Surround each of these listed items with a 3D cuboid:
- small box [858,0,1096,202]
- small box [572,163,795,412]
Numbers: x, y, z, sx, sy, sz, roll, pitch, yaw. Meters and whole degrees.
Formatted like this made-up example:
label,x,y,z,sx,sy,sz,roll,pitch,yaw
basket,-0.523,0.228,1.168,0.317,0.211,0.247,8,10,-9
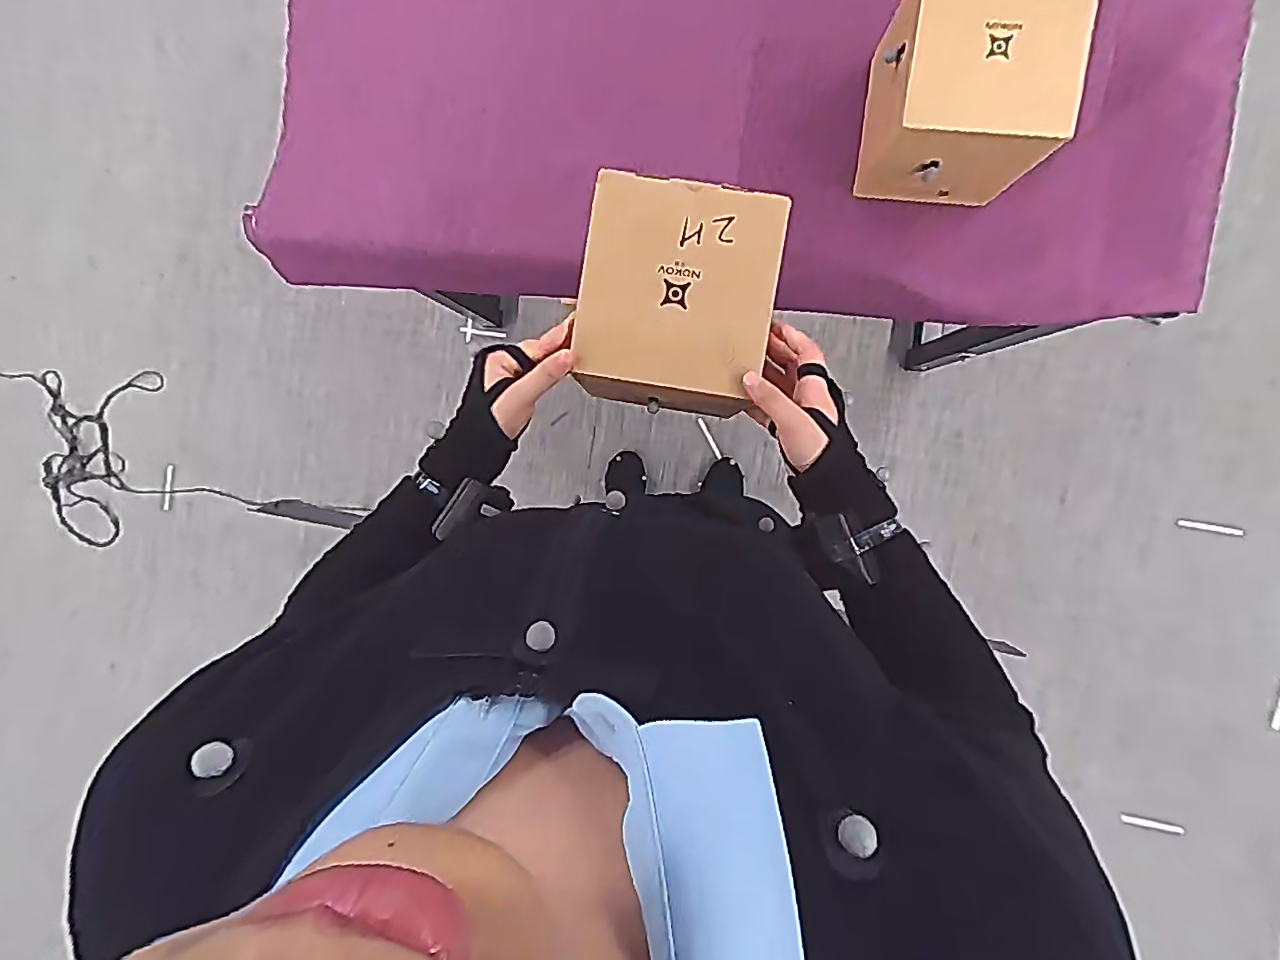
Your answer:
label,x,y,z,sx,sy,sz,roll,pitch,yaw
small box,0.361,-0.440,0.612,0.168,0.176,0.179,7,95,5
small box,0.037,-0.170,0.535,0.168,0.176,0.179,10,91,0
